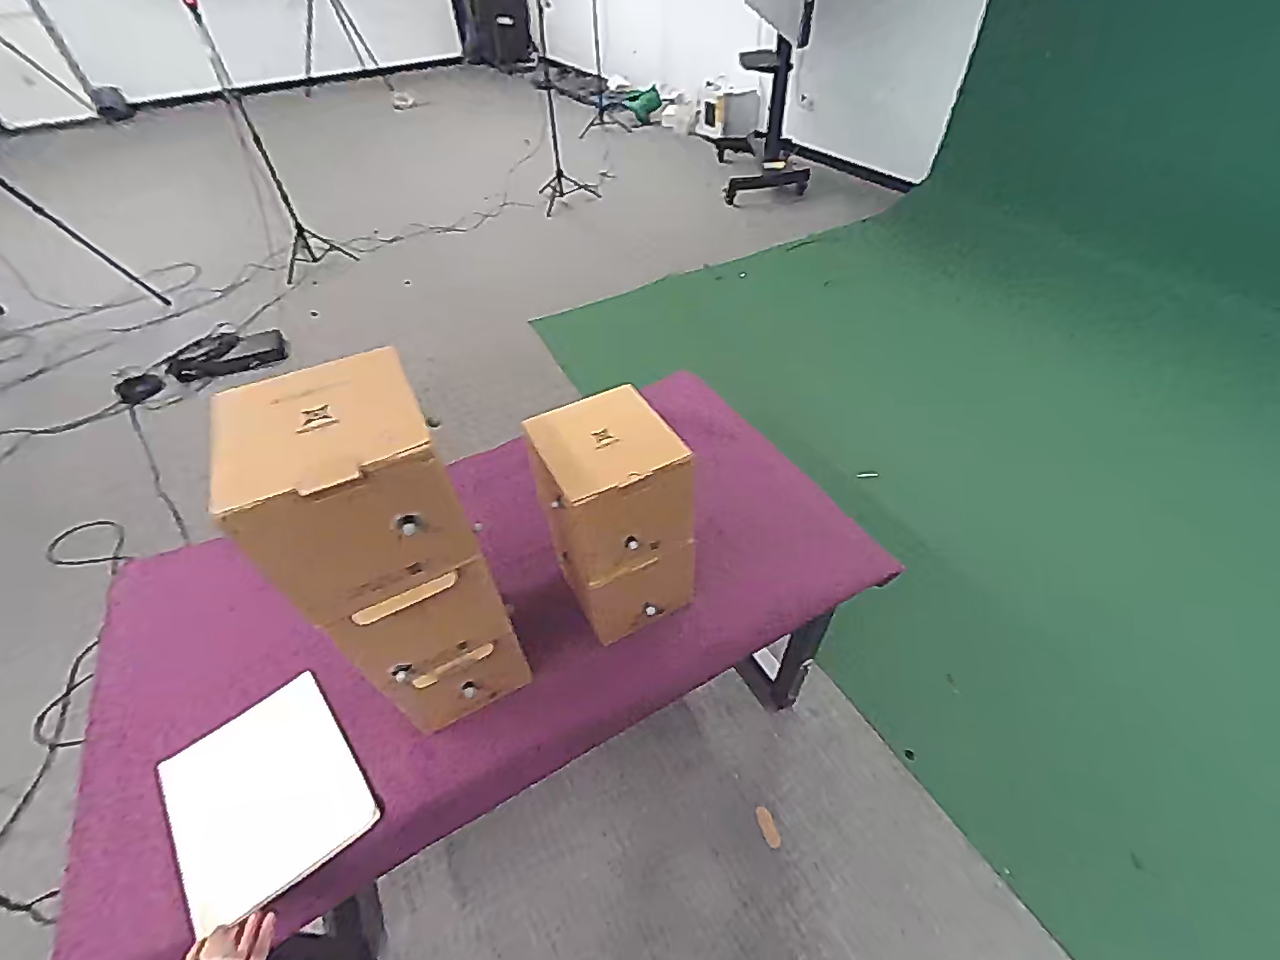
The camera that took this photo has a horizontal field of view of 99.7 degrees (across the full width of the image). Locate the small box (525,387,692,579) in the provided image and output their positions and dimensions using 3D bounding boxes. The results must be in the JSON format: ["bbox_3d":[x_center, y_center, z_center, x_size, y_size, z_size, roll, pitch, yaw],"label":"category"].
[{"bbox_3d":[-0.044,0.003,0.753,0.168,0.176,0.179,-22,49,-18],"label":"small box"}]

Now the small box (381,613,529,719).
[{"bbox_3d":[-0.275,0.219,0.785,0.168,0.176,0.179,-23,50,-18],"label":"small box"}]

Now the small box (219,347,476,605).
[{"bbox_3d":[-0.280,0.001,0.541,0.168,0.176,0.179,-22,49,-18],"label":"small box"}]

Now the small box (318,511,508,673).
[{"bbox_3d":[-0.277,0.110,0.662,0.168,0.176,0.179,-23,49,-18],"label":"small box"}]
